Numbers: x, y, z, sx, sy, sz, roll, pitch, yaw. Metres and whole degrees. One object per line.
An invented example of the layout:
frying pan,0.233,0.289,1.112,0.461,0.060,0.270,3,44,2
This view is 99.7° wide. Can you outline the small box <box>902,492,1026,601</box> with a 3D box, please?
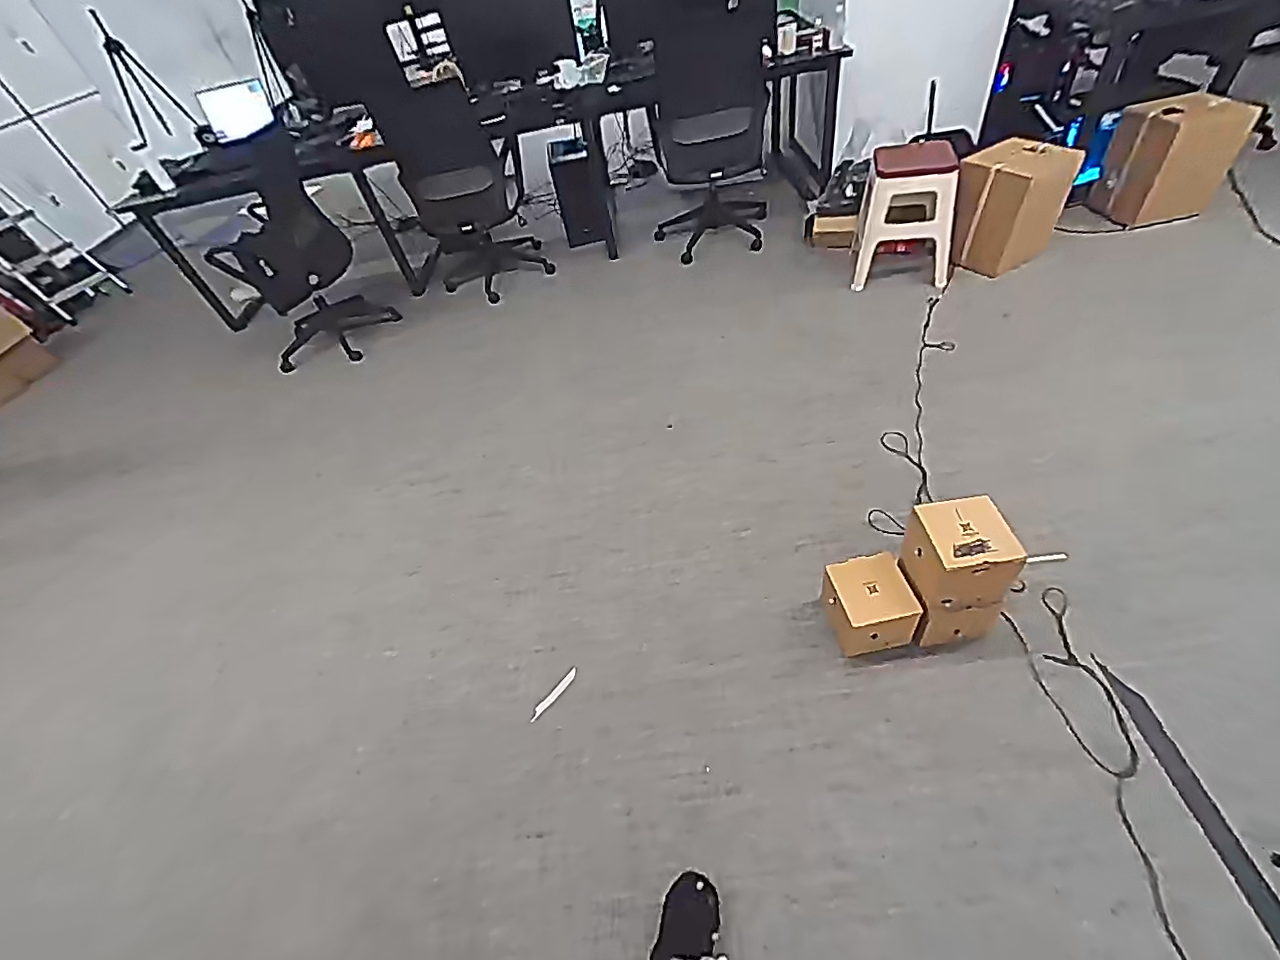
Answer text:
small box,0.711,0.155,1.209,0.168,0.176,0.179,-9,46,5
